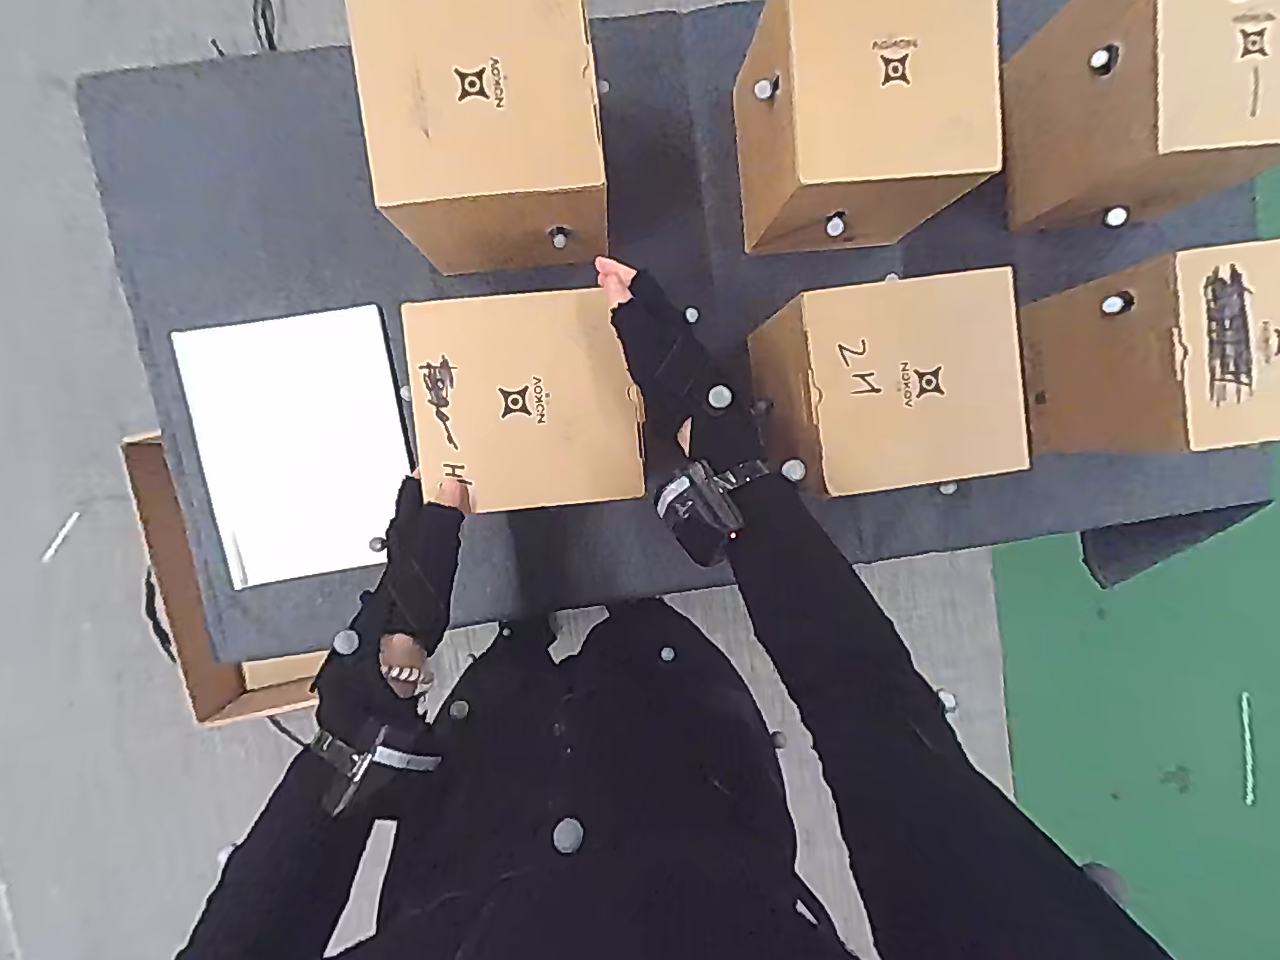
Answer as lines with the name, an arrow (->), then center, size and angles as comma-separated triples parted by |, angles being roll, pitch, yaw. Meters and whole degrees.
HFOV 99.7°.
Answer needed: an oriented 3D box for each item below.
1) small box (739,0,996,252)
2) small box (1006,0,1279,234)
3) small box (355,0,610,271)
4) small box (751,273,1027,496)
small box -> 0.194, -0.326, 0.502 | 0.168, 0.176, 0.179 | -5, 94, -3
small box -> 0.481, -0.358, 0.512 | 0.168, 0.176, 0.179 | -5, 94, -2
small box -> -0.122, -0.300, 0.483 | 0.179, 0.176, 0.168 | -6, 93, -3
small box -> 0.218, -0.082, 0.514 | 0.179, 0.176, 0.168 | -7, 93, -2
